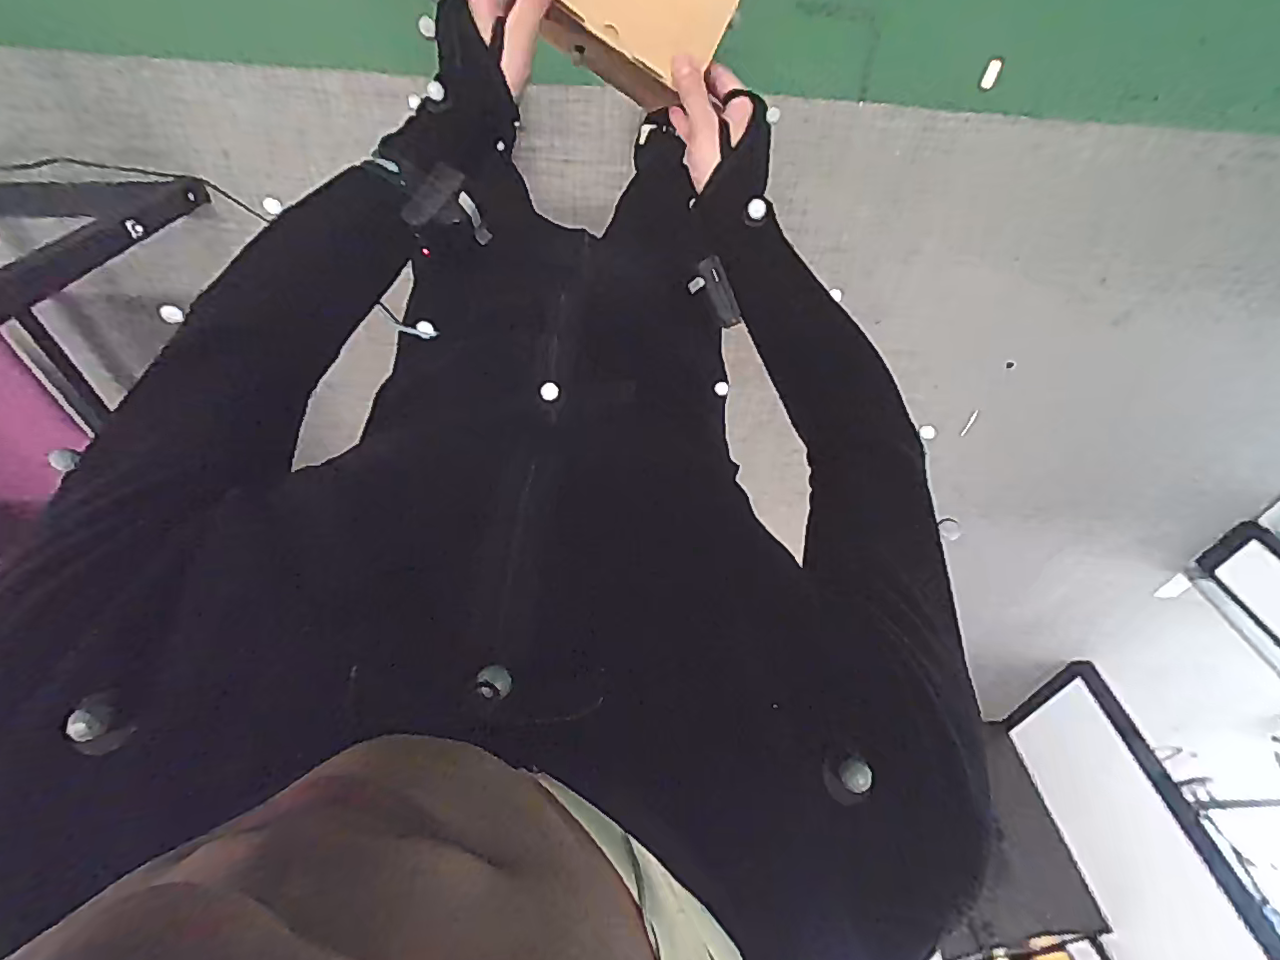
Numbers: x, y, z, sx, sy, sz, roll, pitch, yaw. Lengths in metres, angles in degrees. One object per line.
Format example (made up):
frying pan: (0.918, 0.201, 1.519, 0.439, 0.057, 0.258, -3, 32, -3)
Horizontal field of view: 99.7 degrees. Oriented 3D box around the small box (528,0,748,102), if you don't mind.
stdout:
small box: (0.006, -0.466, 0.469, 0.168, 0.176, 0.179, 20, 116, -24)
